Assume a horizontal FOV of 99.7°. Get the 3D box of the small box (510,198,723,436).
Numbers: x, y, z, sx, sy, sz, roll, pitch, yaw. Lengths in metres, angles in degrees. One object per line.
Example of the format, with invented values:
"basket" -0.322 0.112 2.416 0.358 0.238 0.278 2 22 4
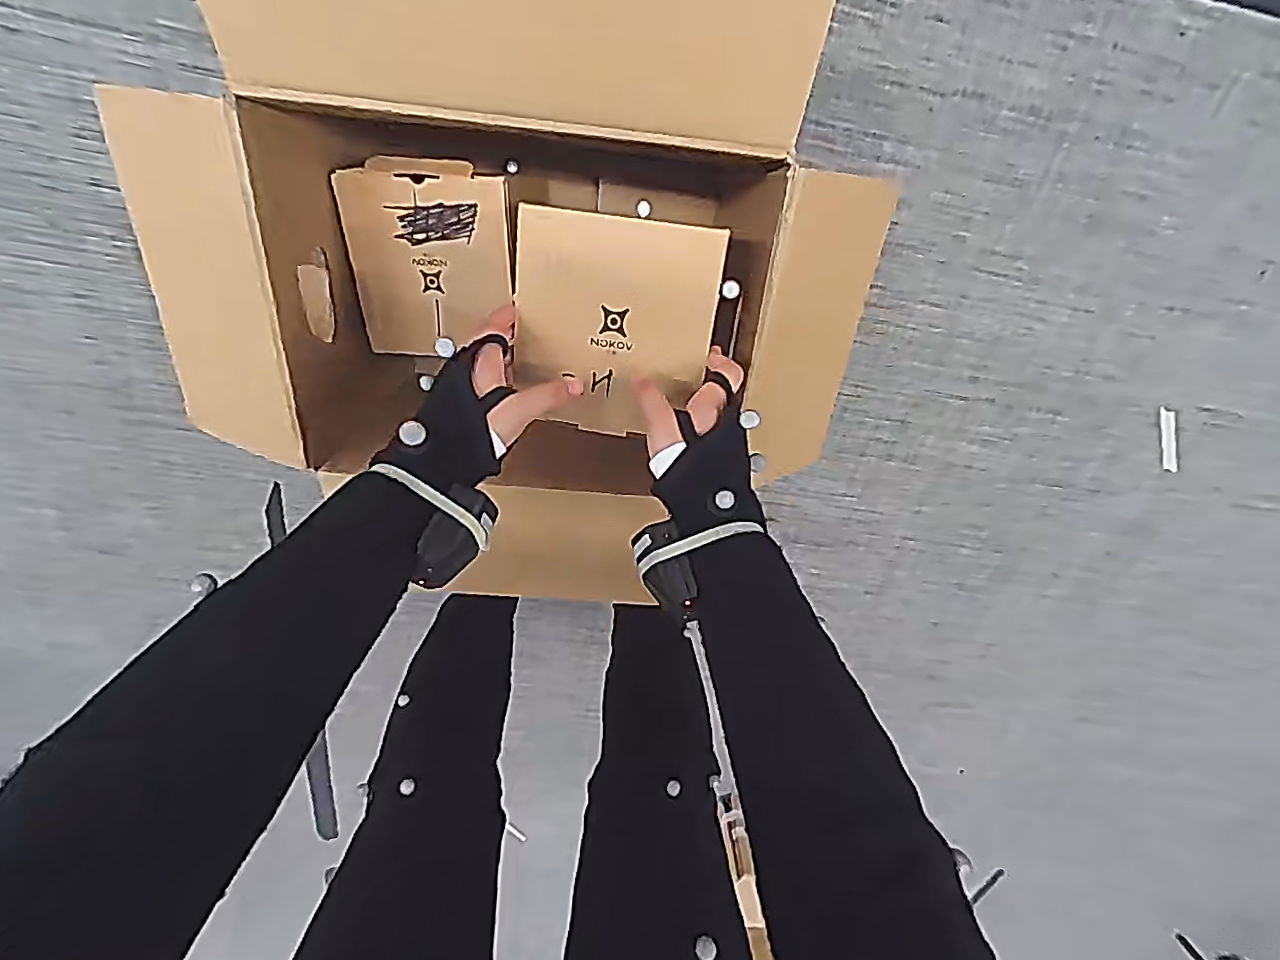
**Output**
"small box" -0.019 -0.161 0.525 0.168 0.176 0.179 9 115 3
